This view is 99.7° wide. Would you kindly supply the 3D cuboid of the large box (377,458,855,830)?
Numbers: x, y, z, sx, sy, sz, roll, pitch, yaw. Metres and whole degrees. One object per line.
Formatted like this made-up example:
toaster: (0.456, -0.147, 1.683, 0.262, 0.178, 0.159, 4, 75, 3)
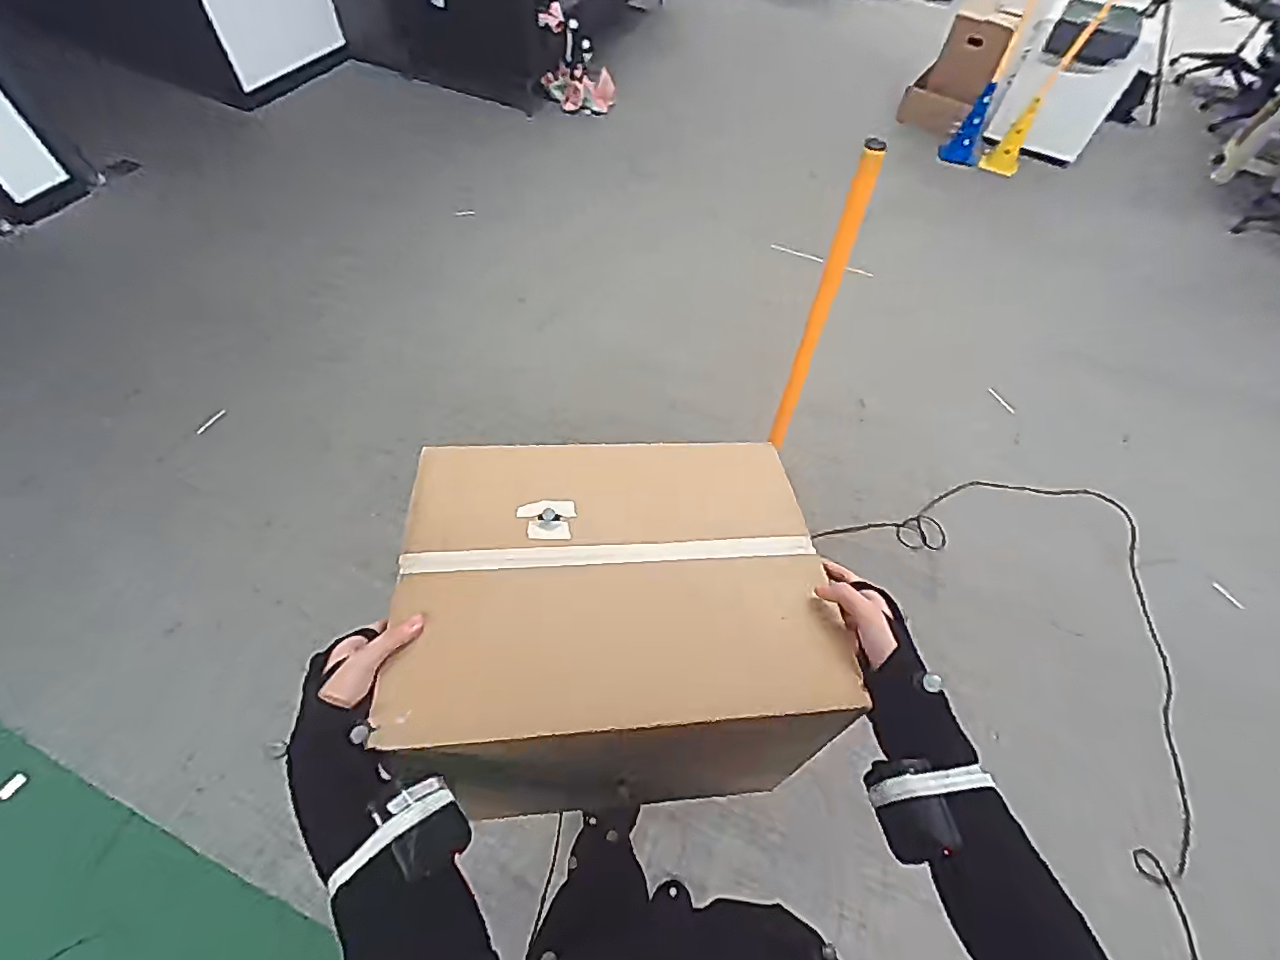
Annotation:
large box: (-0.035, 0.194, 0.648, 0.408, 0.320, 0.320, -2, 47, -8)
